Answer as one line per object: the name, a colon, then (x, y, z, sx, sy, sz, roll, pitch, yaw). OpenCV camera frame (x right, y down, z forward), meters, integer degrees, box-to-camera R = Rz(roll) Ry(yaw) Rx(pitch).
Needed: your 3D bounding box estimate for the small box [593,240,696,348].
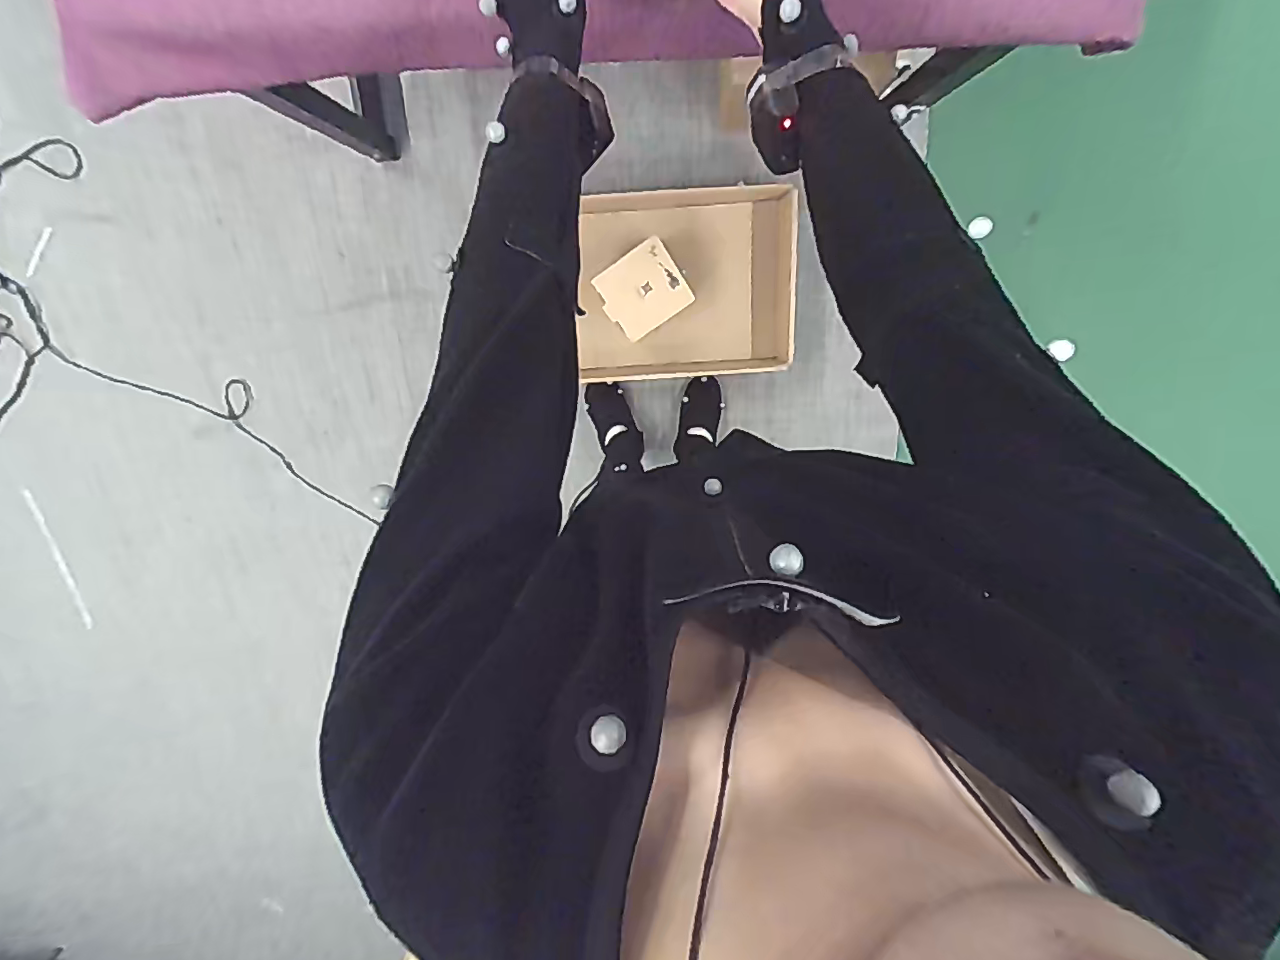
small box: (0.015, -0.427, 1.259, 0.179, 0.176, 0.168, -32, 104, 11)
